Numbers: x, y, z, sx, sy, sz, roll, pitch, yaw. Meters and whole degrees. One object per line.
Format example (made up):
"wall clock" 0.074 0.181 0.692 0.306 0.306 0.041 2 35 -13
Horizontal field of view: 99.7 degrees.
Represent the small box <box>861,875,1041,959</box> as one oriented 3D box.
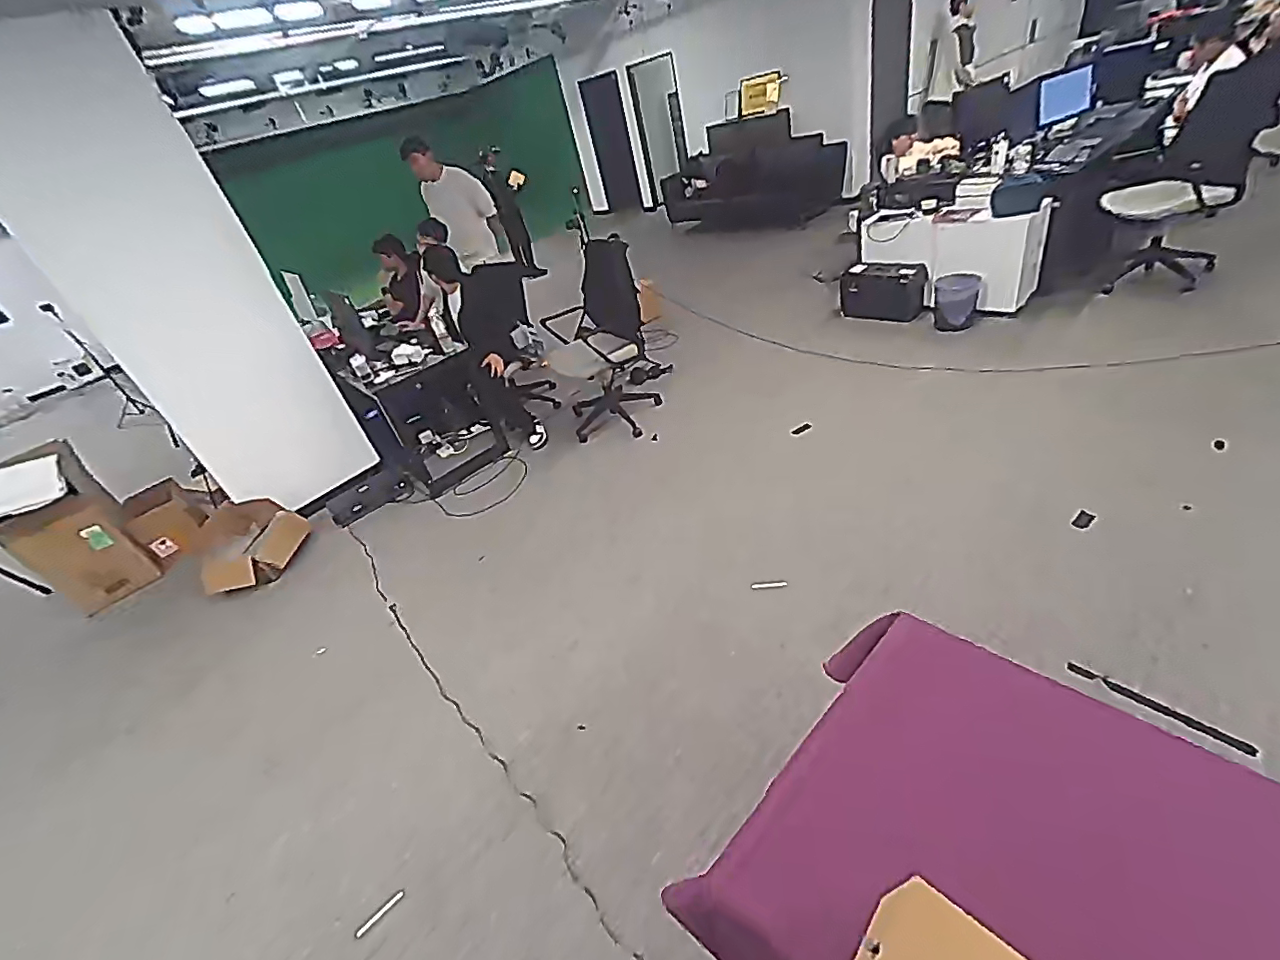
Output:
"small box" 0.309 0.549 0.539 0.168 0.176 0.179 28 56 31
